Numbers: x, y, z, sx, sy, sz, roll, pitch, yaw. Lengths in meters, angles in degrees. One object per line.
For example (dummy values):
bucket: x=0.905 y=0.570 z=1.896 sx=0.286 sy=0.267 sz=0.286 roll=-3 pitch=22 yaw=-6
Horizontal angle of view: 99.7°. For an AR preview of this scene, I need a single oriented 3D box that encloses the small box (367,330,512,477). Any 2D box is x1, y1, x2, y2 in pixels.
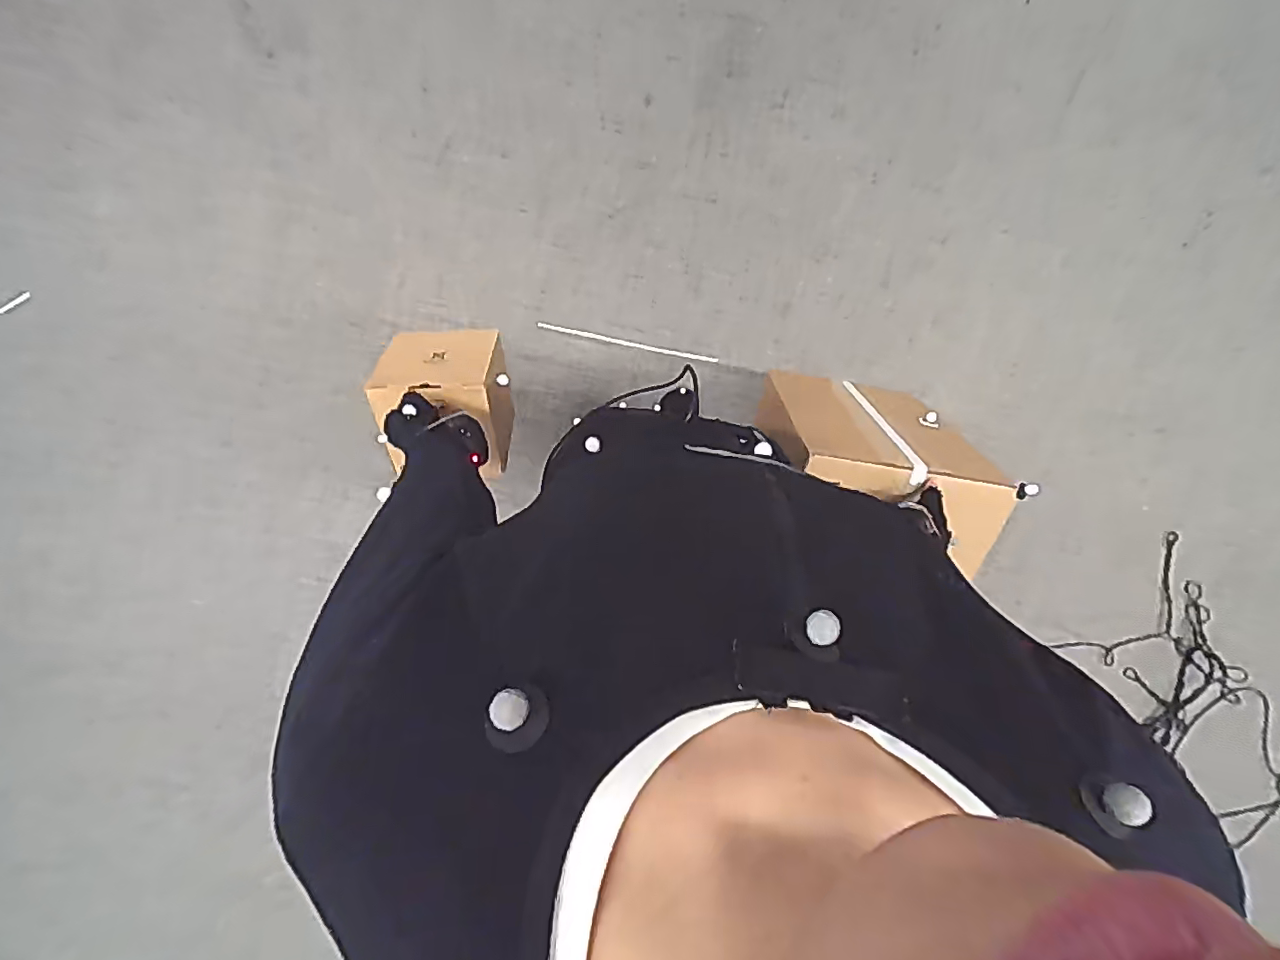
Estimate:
small box: x=-0.305 y=-0.124 z=0.870 sx=0.168 sy=0.179 sz=0.176 roll=-3 pitch=132 yaw=-3
